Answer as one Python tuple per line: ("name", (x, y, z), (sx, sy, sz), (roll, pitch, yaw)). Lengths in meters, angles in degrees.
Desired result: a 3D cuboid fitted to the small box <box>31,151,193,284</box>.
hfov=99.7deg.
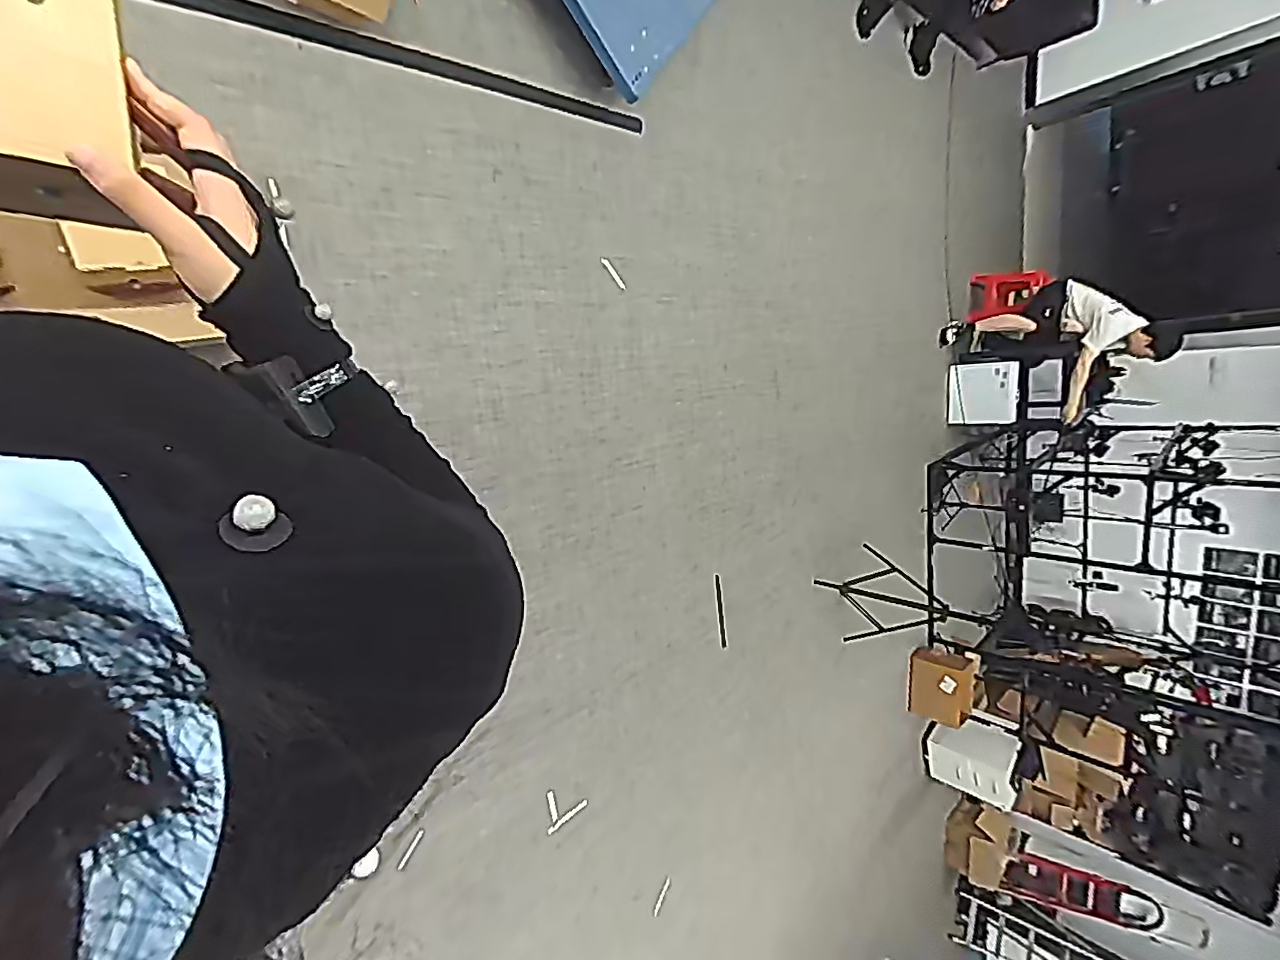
("small box", (-0.955, -0.470, 0.990), (0.168, 0.176, 0.179), (-21, 109, -39))
